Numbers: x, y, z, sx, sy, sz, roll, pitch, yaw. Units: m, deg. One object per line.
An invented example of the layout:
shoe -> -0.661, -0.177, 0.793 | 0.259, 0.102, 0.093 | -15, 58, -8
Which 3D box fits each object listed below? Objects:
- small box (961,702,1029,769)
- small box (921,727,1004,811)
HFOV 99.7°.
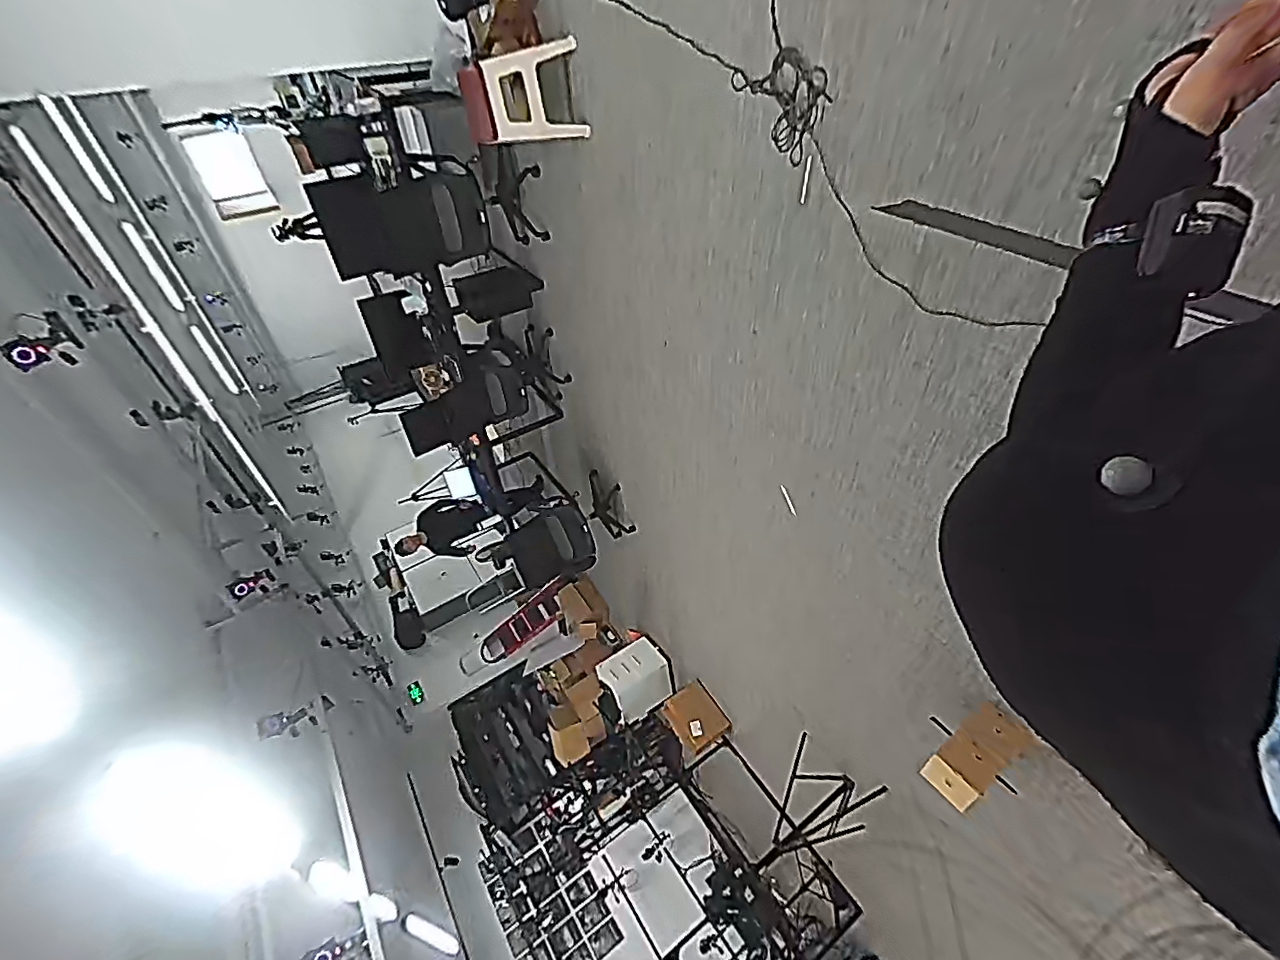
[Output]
small box -> 1.271, 0.948, 1.967 | 0.168, 0.176, 0.179 | 42, 150, 41
small box -> 1.137, 1.016, 1.905 | 0.168, 0.176, 0.179 | 43, 149, 40
